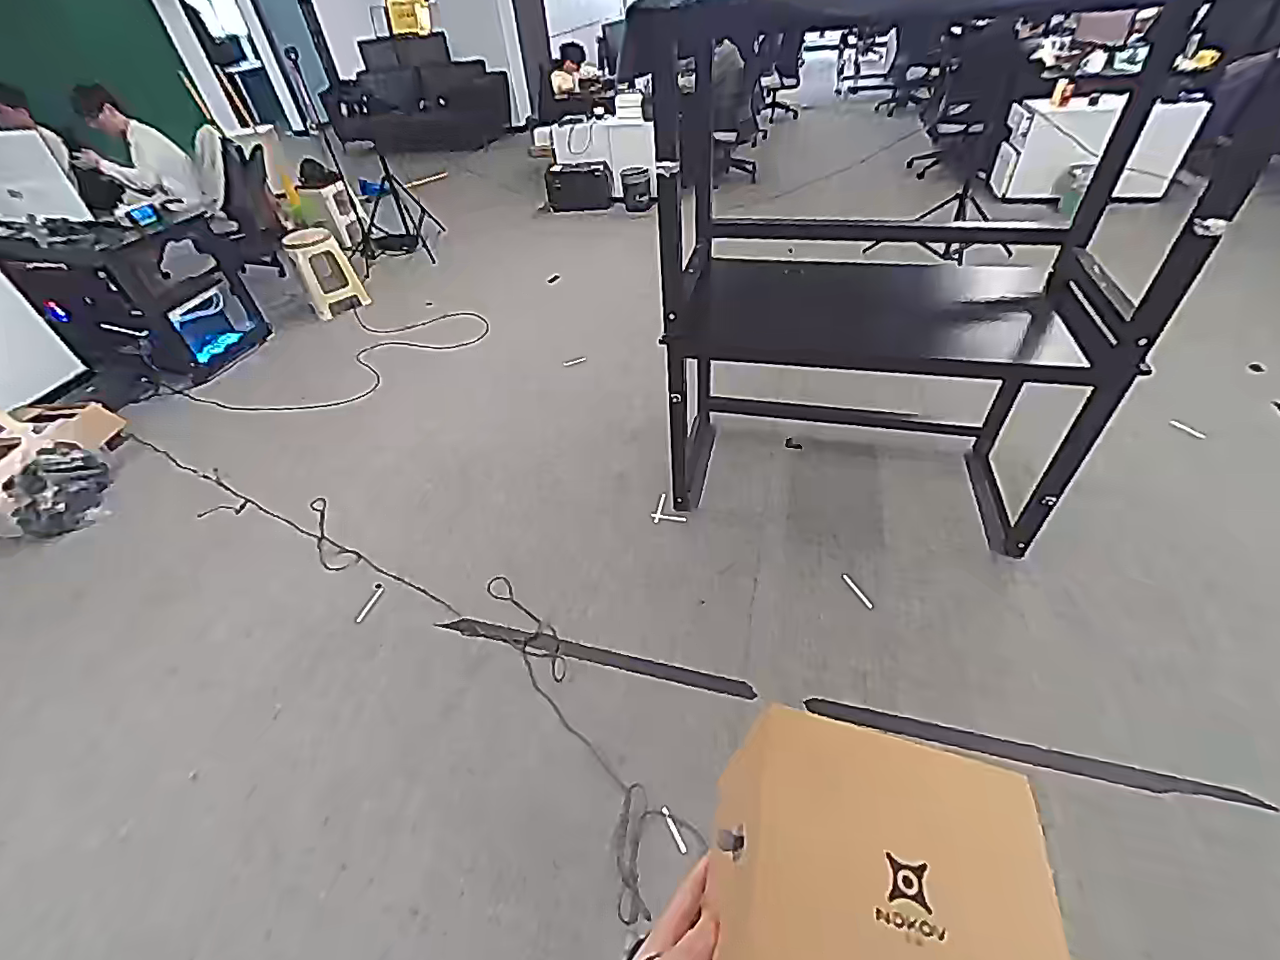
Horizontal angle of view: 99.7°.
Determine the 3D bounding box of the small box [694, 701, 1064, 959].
[{"bbox_3d":[0.133,0.279,0.349,0.168,0.176,0.179,13,47,7],"label":"small box"}]
